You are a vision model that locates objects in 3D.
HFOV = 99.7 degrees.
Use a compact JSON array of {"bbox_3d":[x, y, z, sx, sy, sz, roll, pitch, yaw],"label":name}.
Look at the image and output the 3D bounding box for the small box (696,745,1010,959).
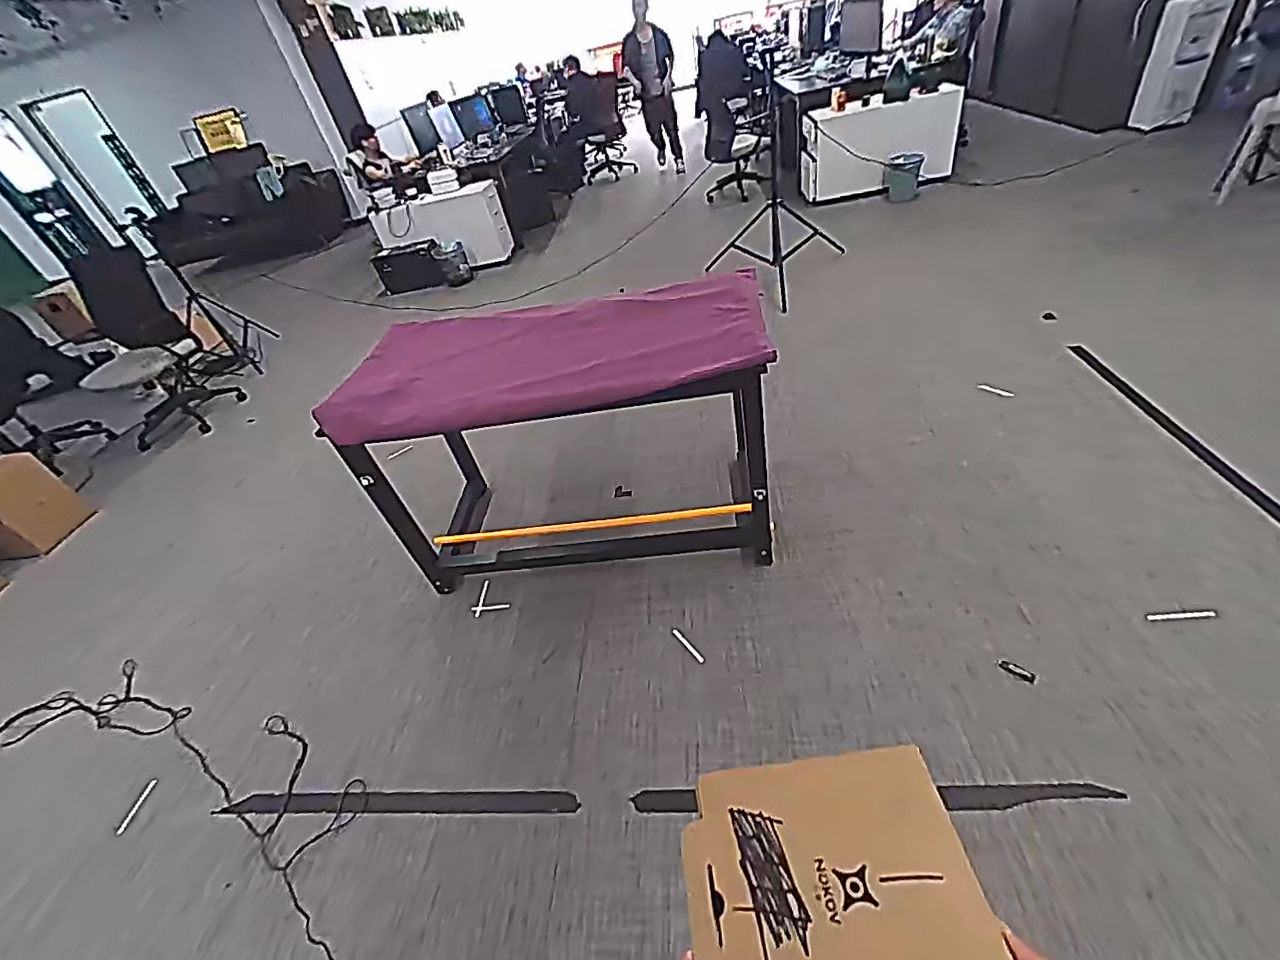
[{"bbox_3d":[0.147,0.332,0.416,0.179,0.176,0.168,-9,41,2],"label":"small box"}]
